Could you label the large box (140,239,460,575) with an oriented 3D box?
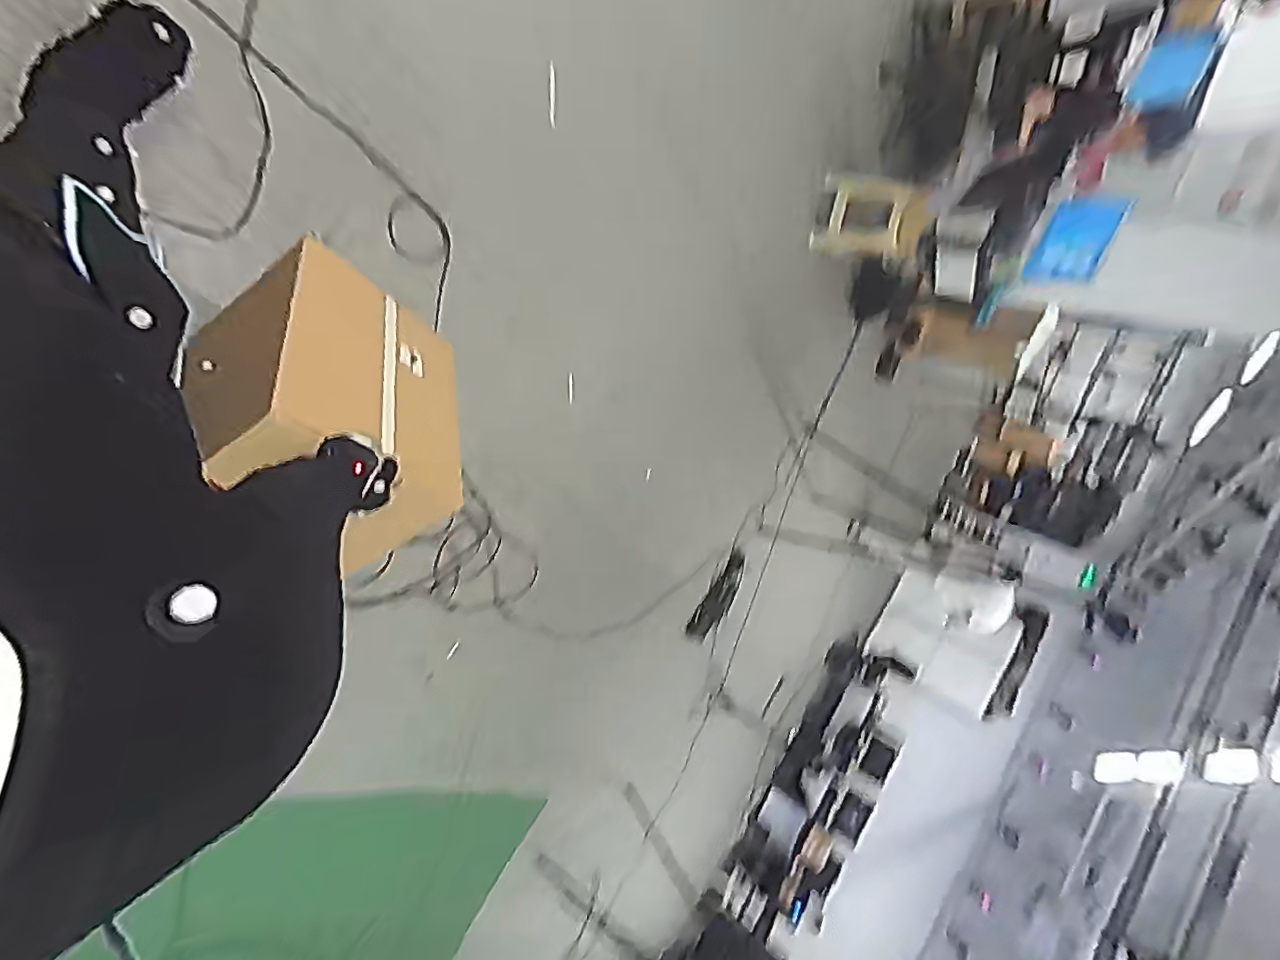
[{"bbox_3d":[-0.547,-0.106,0.924,0.320,0.408,0.320,-30,143,15],"label":"large box"}]
